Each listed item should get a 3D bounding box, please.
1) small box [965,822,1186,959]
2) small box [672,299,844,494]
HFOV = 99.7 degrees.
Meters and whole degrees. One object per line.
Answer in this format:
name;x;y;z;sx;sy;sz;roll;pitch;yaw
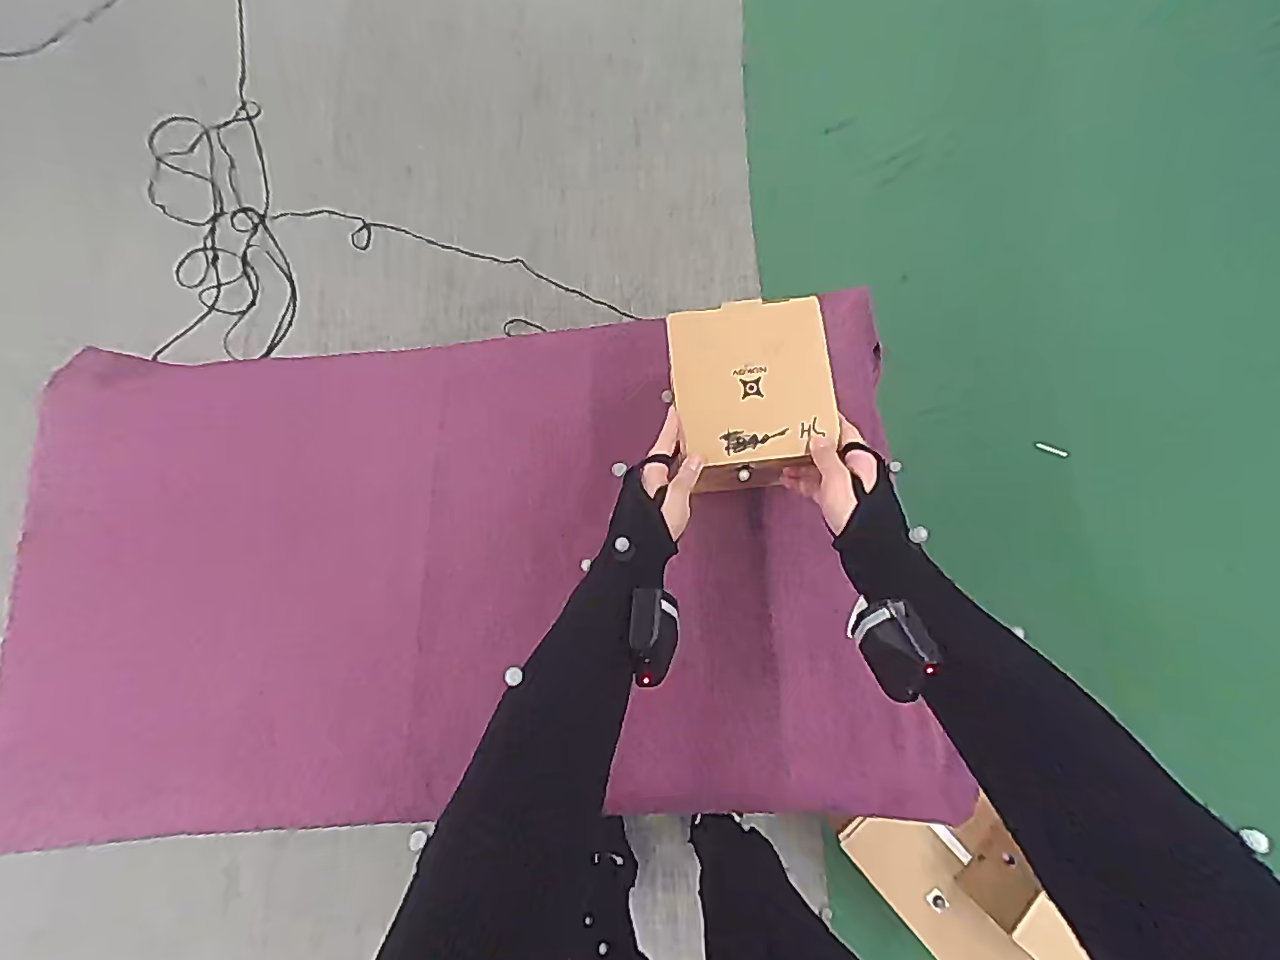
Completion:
small box;0.663;0.679;0.851;0.179;0.176;0.168;41;83;12
small box;0.126;-0.088;0.648;0.168;0.176;0.179;-6;79;4
